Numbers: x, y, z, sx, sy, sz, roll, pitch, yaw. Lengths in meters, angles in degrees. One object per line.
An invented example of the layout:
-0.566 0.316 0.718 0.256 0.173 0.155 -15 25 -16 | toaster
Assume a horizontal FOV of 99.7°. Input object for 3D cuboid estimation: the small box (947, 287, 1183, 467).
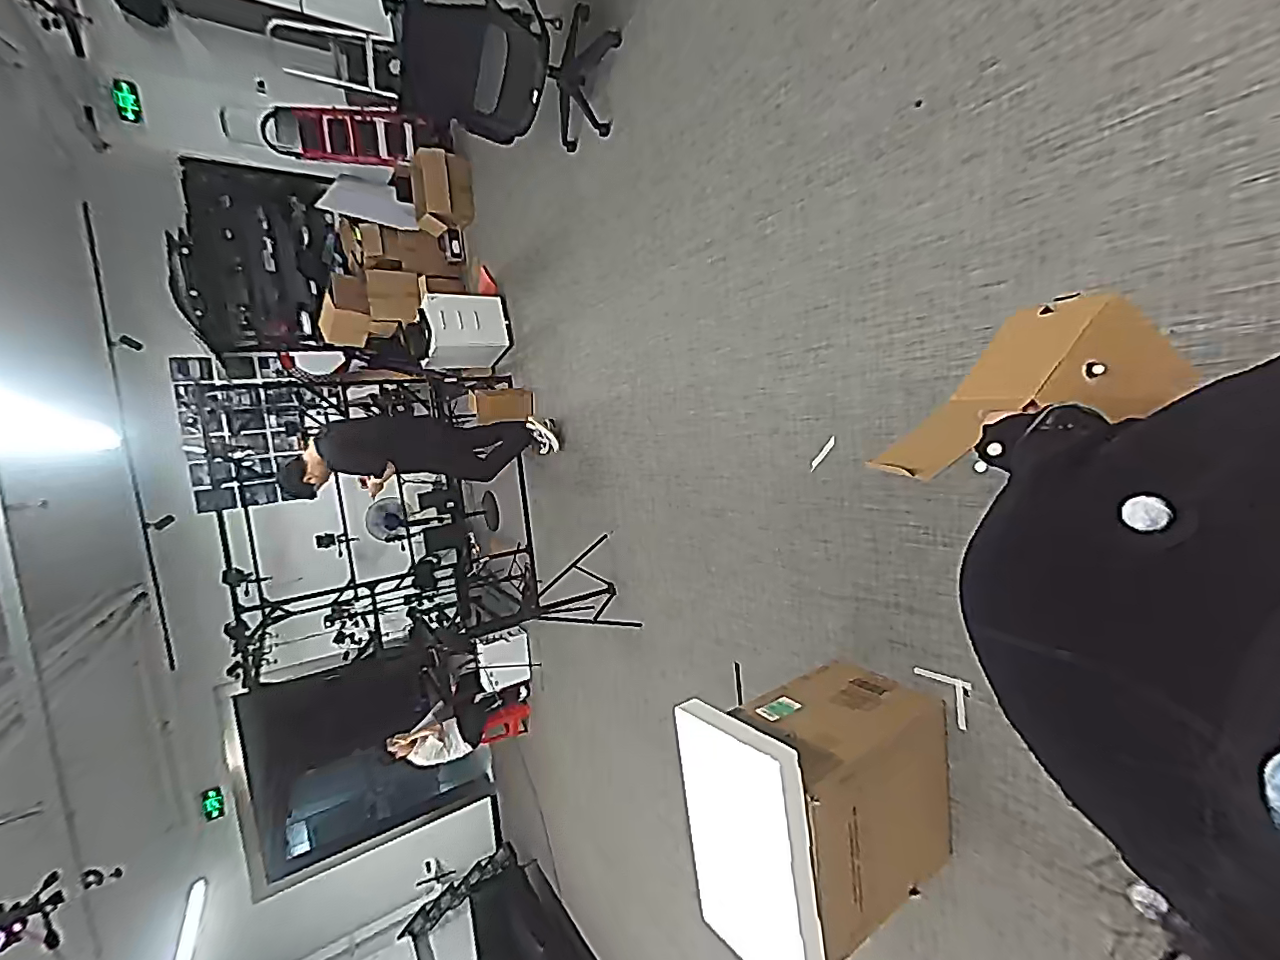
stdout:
0.600 -0.138 0.773 0.179 0.176 0.168 -54 11 3 | small box
